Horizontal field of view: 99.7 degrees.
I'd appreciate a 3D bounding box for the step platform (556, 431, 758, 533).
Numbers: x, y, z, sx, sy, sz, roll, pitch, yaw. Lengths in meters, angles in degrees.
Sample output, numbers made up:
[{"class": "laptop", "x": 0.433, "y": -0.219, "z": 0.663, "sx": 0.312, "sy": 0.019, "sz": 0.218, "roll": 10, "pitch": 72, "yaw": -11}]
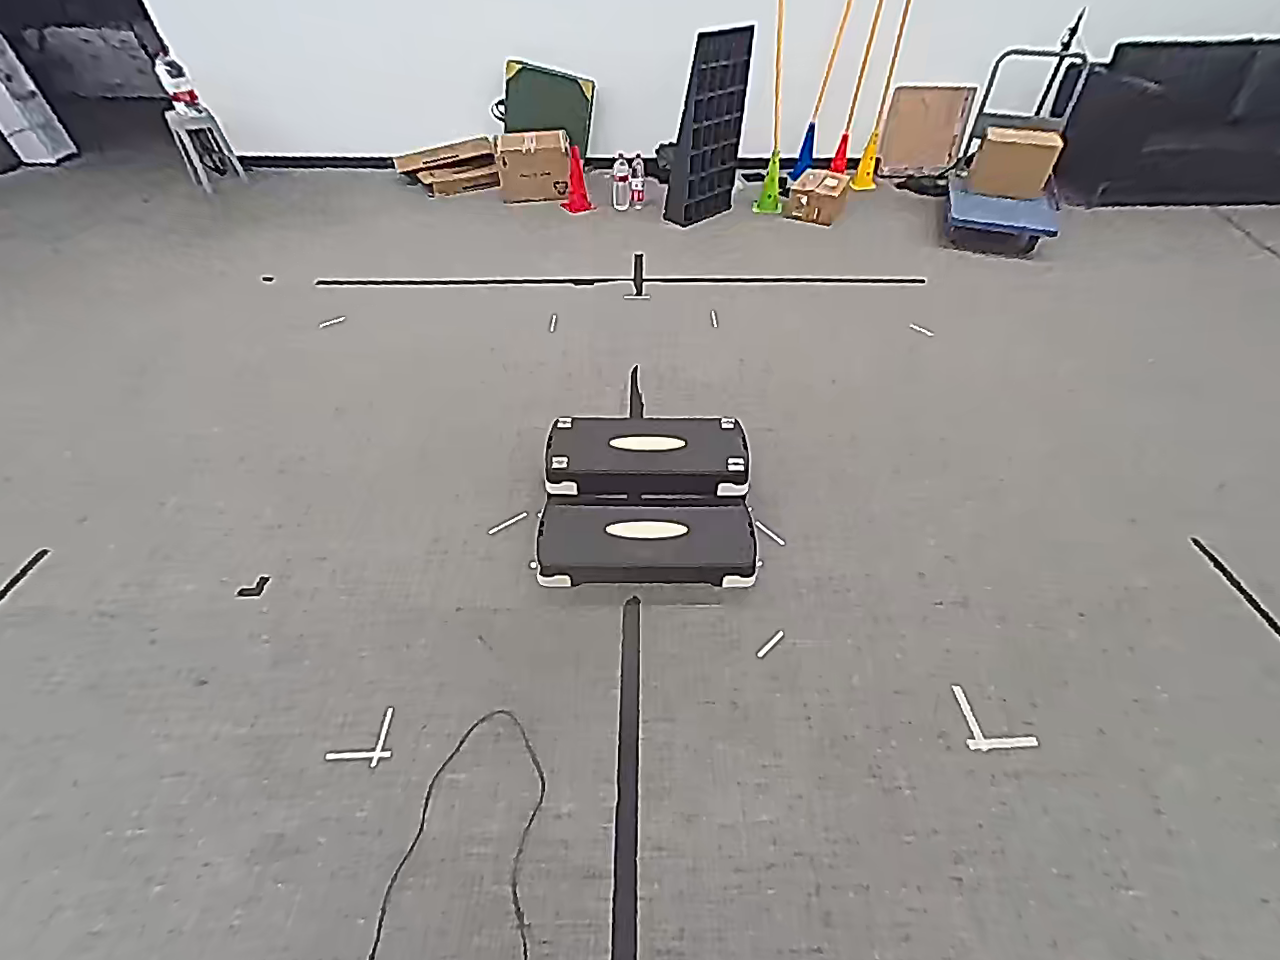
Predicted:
[{"class": "step platform", "x": 0.058, "y": 0.000, "z": 1.857, "sx": 0.684, "sy": 0.204, "sz": 0.286, "roll": 3, "pitch": 45, "yaw": 3}]
